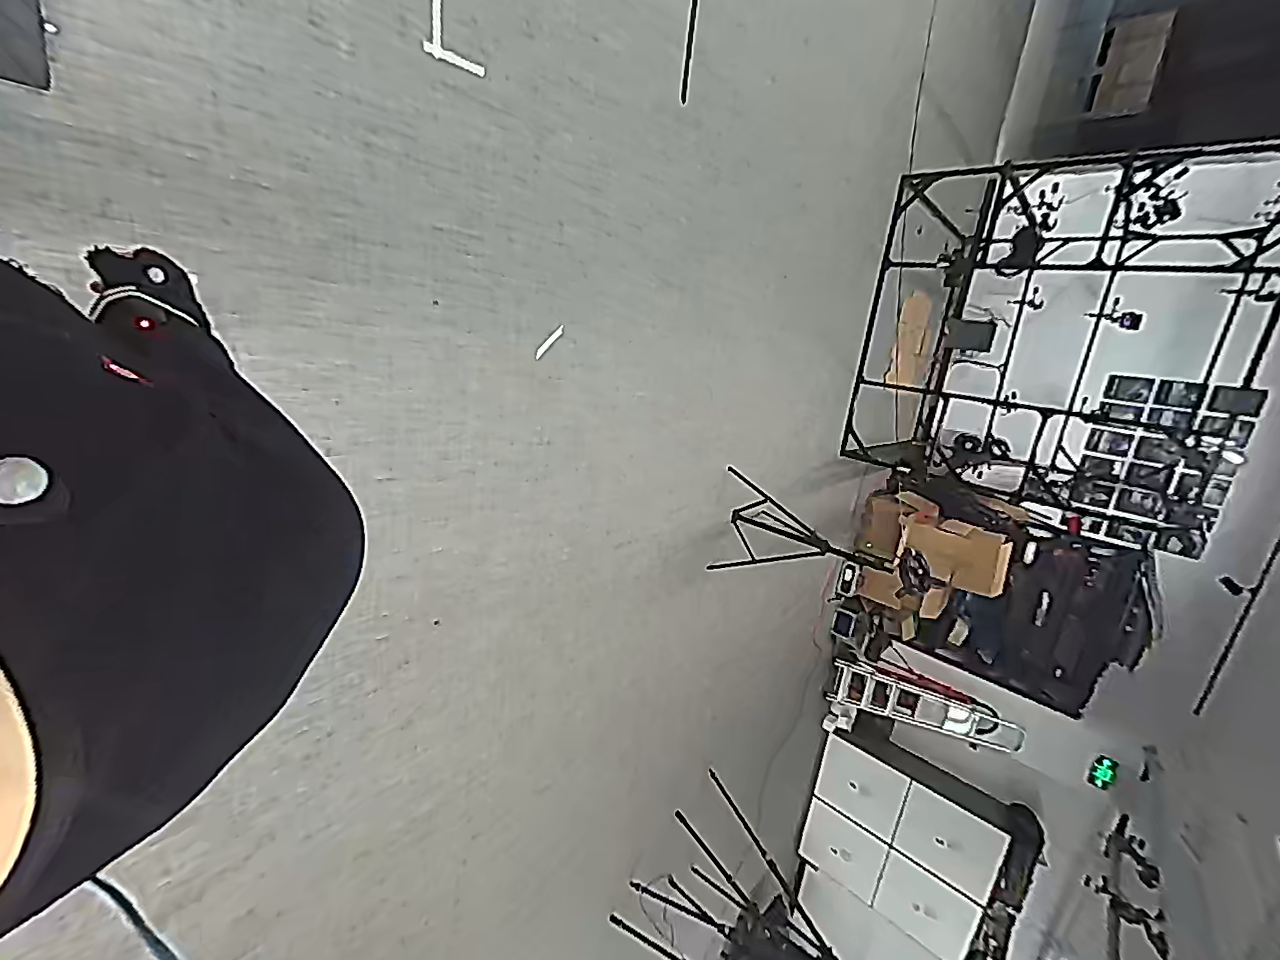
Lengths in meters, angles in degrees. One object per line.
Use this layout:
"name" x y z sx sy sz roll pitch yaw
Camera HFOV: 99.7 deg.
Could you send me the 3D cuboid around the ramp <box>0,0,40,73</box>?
"ramp" -1.052 -1.098 0.559 0.509 0.206 0.991 -14 116 -49
